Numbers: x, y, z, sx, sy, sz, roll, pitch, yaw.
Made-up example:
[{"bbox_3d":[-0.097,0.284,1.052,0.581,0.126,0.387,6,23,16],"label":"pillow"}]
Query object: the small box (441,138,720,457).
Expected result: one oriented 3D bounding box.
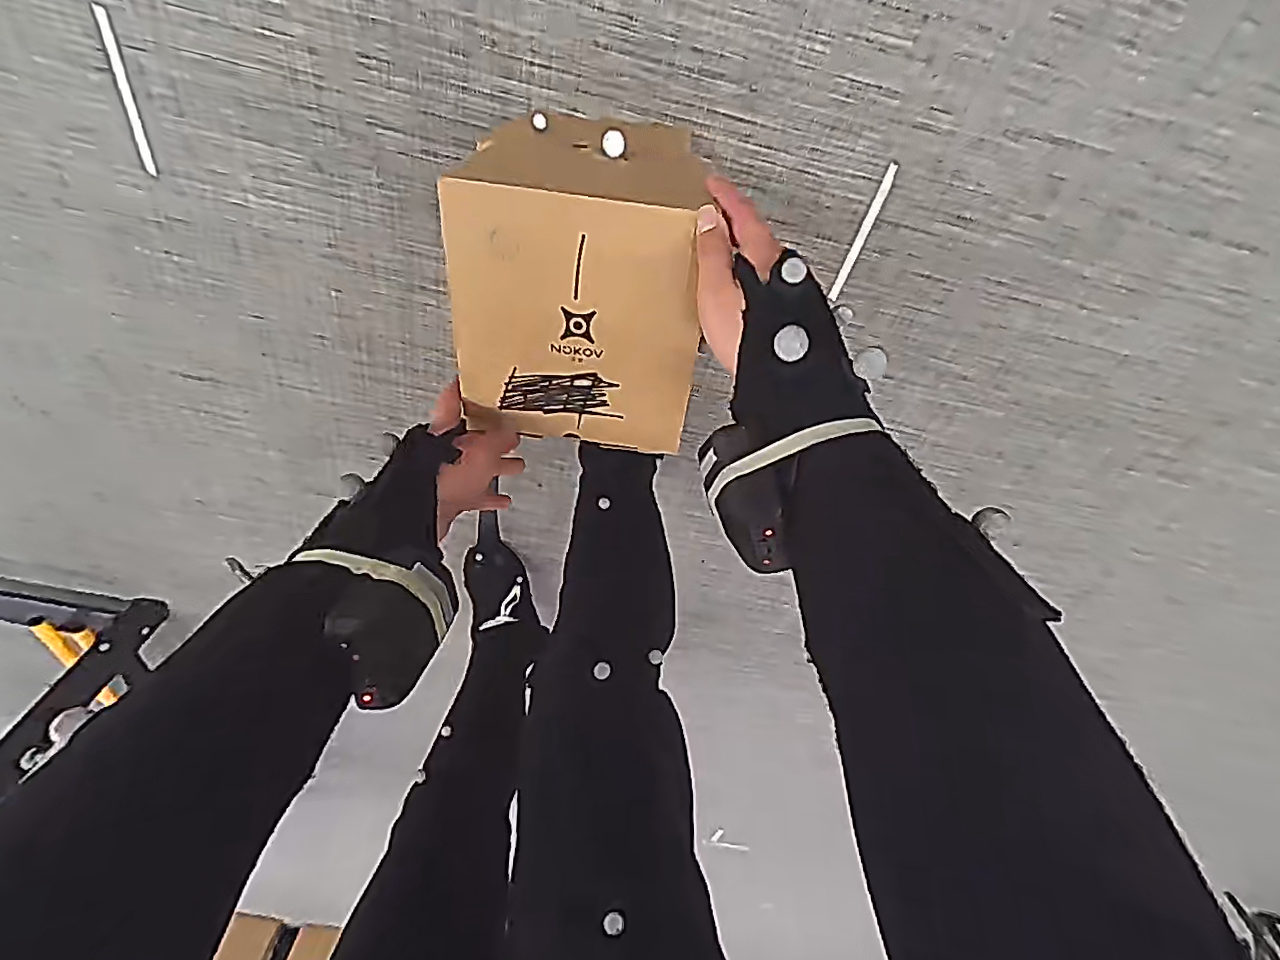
[{"bbox_3d":[-0.037,-0.145,0.423,0.168,0.176,0.179,7,129,-2],"label":"small box"}]
